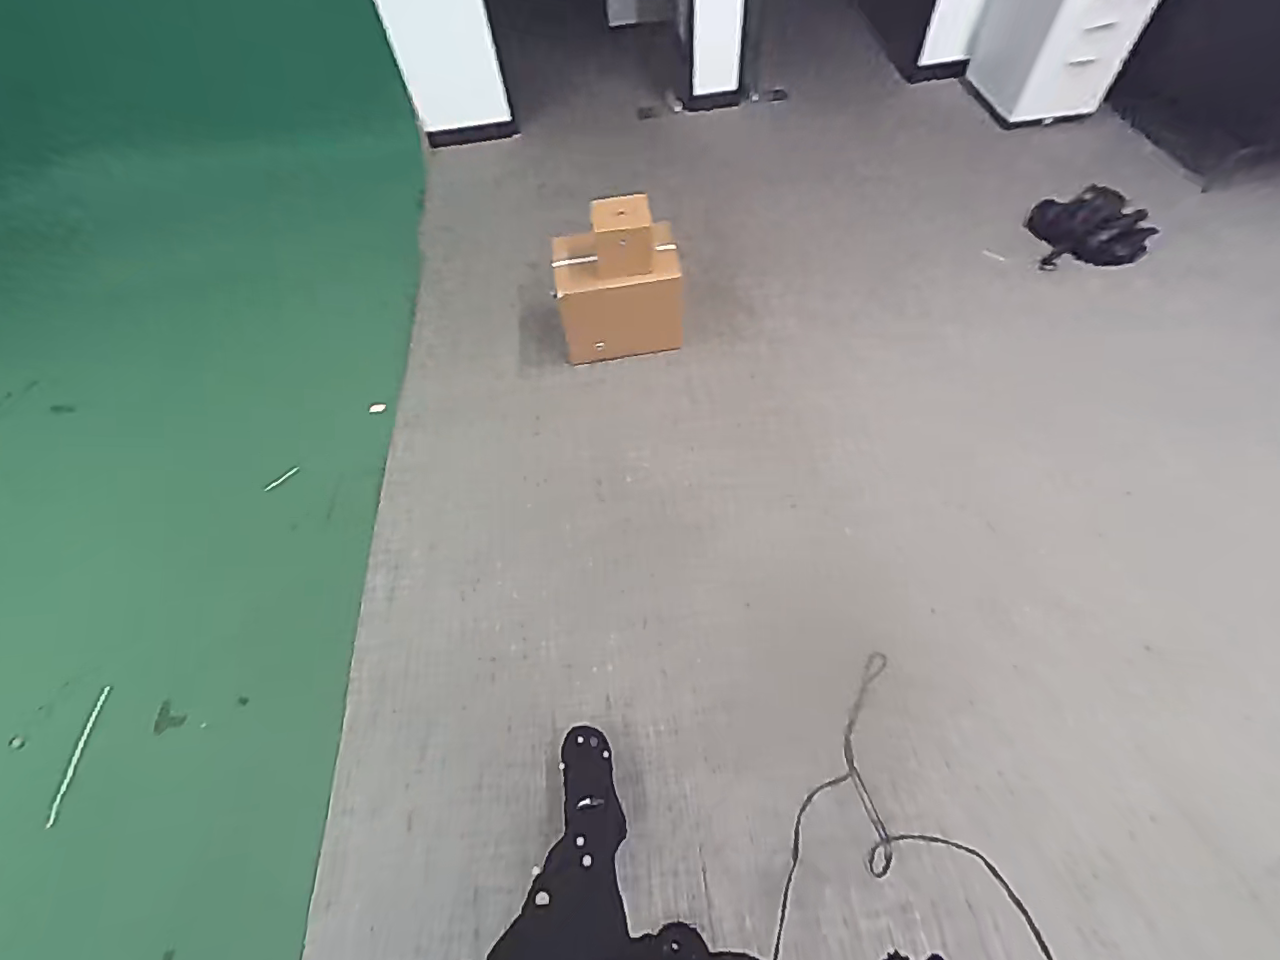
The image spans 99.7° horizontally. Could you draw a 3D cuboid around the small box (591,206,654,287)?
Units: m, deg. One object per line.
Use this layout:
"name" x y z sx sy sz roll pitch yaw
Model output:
"small box" -0.054 -0.728 1.700 0.179 0.176 0.168 -7 58 -1
